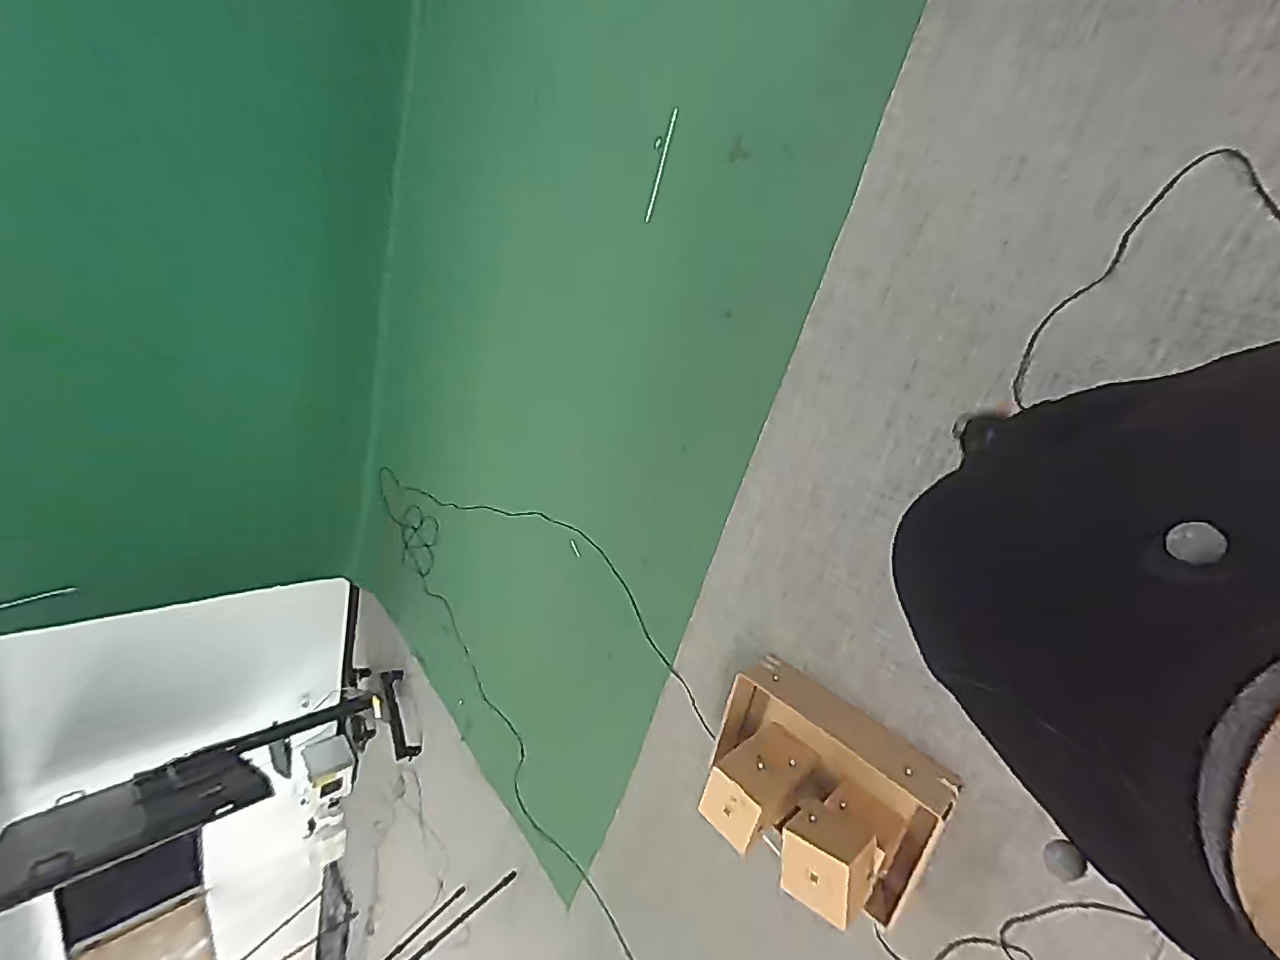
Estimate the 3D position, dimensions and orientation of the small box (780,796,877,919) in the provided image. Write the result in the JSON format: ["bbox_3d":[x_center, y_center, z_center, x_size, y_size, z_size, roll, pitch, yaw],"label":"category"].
[{"bbox_3d":[0.481,0.950,1.384,0.179,0.176,0.168,7,97,45],"label":"small box"}]

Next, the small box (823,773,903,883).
[{"bbox_3d":[0.597,0.959,1.499,0.179,0.176,0.168,29,112,41],"label":"small box"}]

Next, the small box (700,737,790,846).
[{"bbox_3d":[0.303,0.883,1.549,0.168,0.176,0.179,30,113,38],"label":"small box"}]
